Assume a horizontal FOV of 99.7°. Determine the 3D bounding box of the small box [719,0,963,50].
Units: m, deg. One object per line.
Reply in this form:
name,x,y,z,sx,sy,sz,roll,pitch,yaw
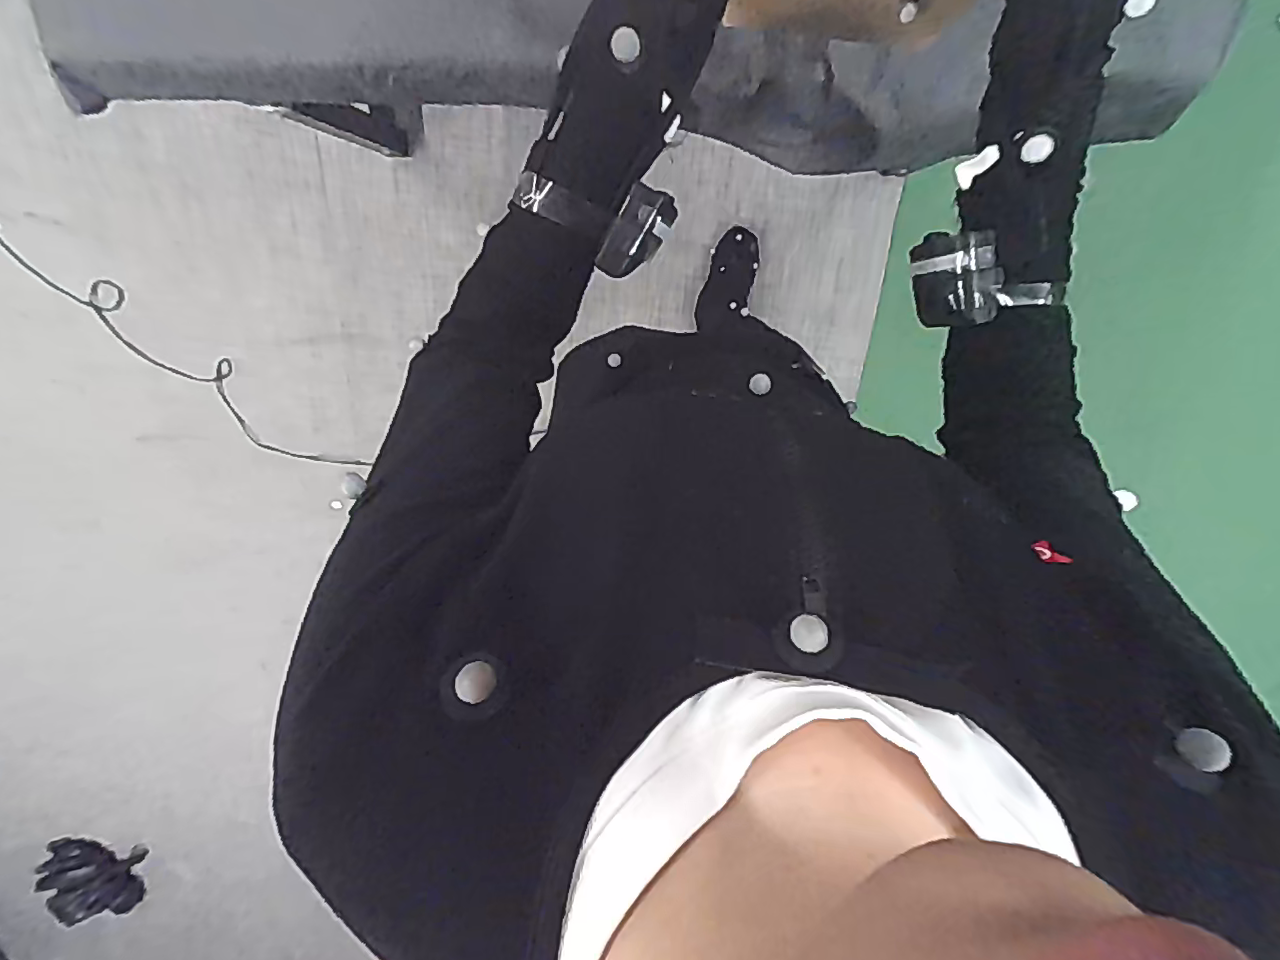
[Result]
small box,0.153,-0.419,0.360,0.179,0.176,0.168,8,110,4
